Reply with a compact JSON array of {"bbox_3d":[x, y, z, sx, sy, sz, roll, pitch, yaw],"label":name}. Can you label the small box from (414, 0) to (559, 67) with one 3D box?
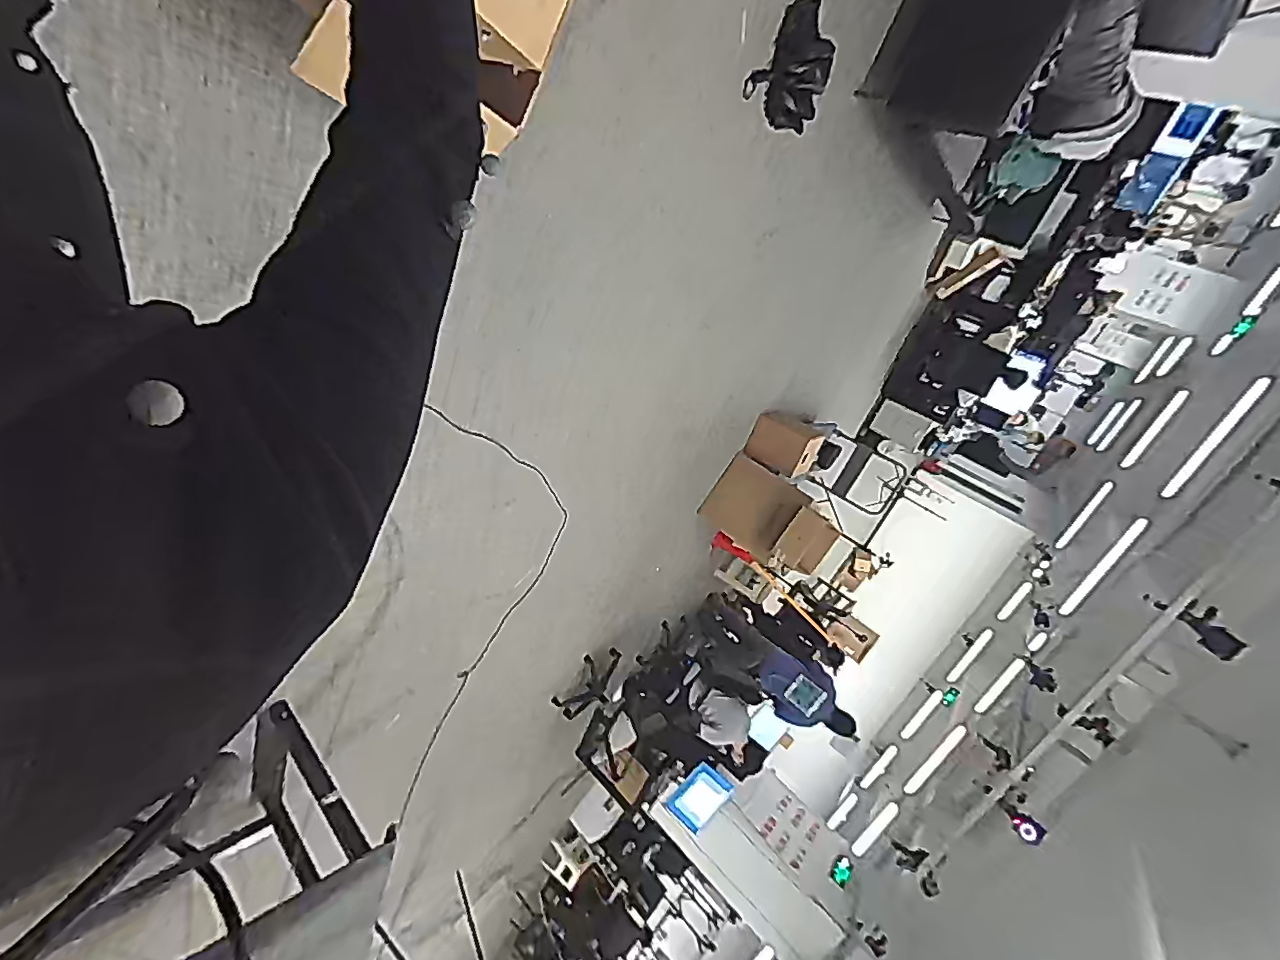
[{"bbox_3d":[-0.252,-0.823,0.883,0.179,0.176,0.168,1,121,-55],"label":"small box"}]
